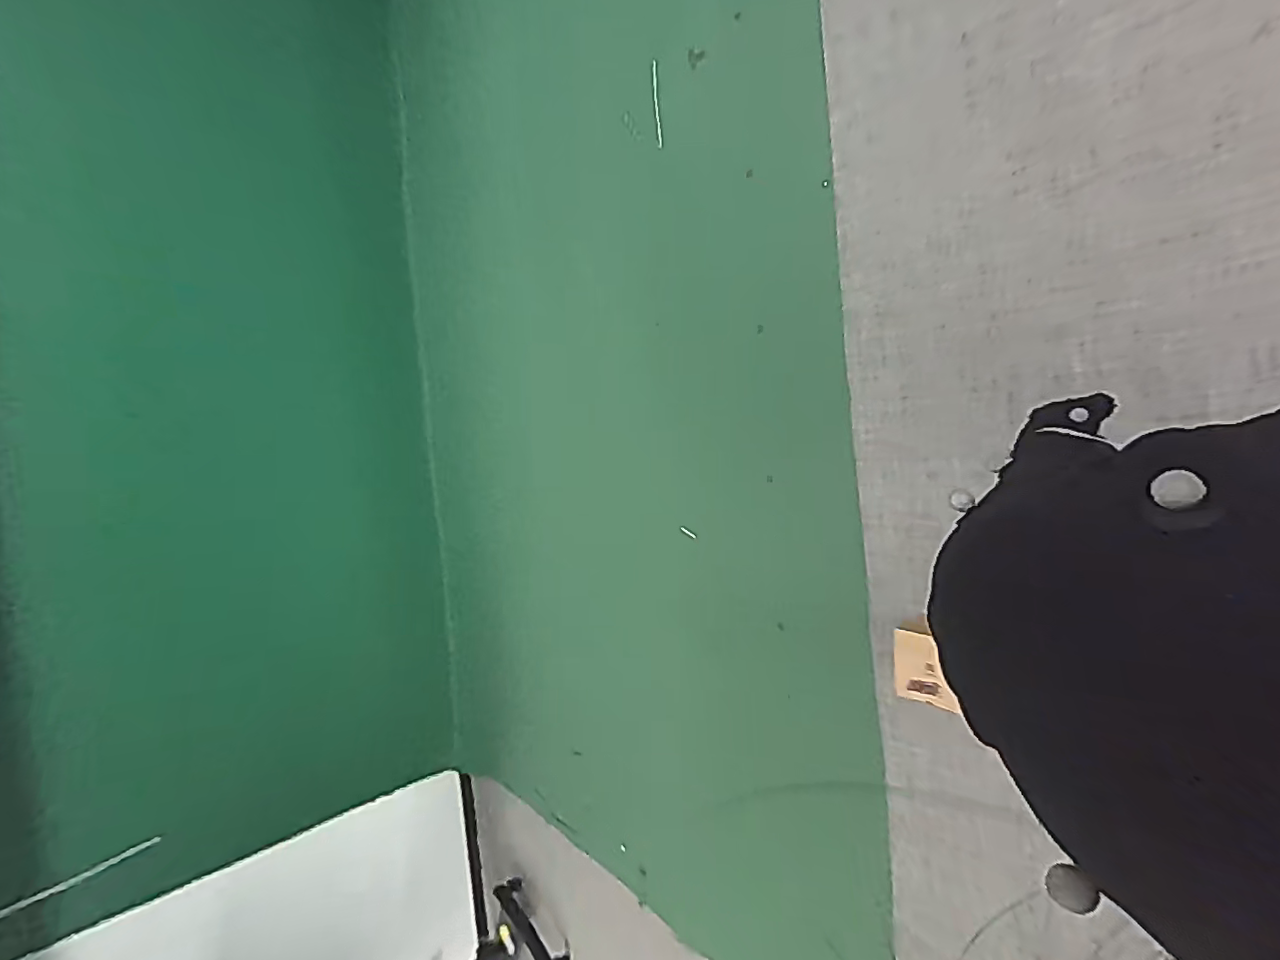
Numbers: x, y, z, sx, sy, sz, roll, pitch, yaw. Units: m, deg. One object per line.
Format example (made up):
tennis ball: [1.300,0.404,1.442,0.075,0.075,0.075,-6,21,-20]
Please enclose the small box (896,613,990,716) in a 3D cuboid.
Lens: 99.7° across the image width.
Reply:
small box: [0.757,0.450,1.348,0.168,0.176,0.179,1,94,48]
